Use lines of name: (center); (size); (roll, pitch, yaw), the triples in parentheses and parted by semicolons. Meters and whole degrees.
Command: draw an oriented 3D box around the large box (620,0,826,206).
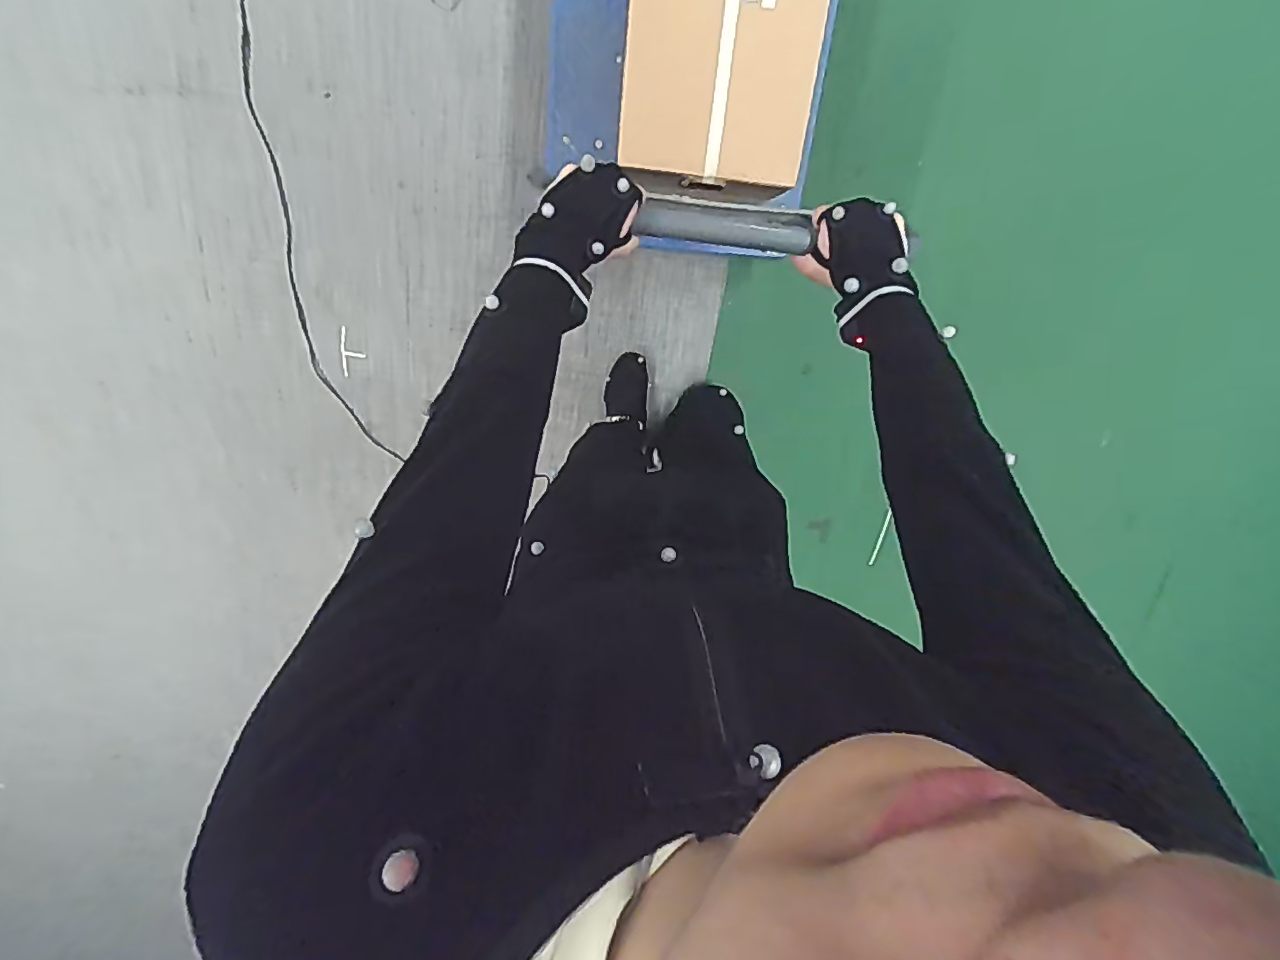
large box: (0.130, -0.758, 0.999); (0.320, 0.320, 0.408); (4, 109, -5)
